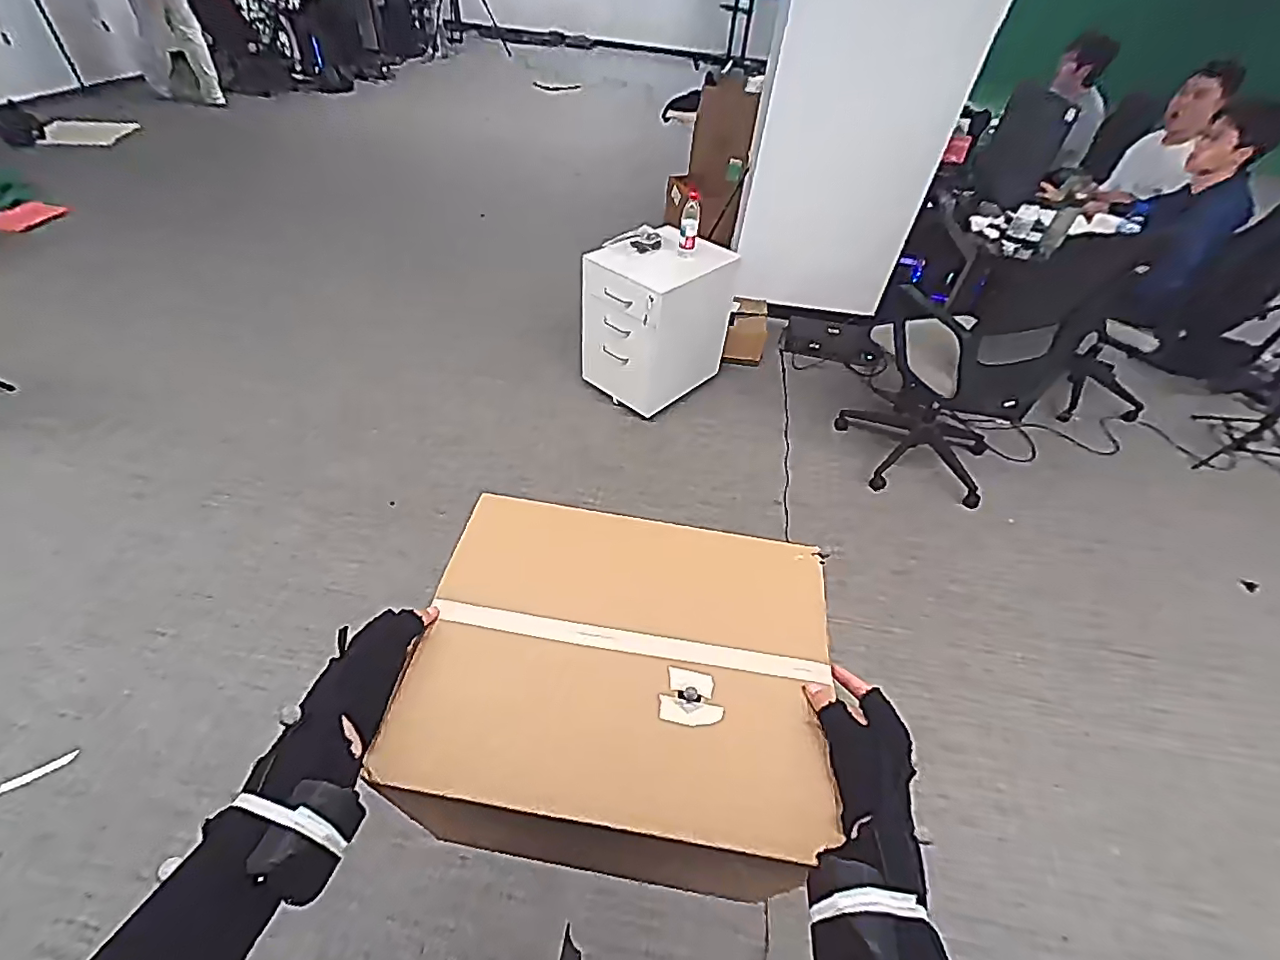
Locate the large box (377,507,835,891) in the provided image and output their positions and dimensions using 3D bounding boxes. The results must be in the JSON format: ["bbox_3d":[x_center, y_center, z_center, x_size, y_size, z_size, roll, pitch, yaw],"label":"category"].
[{"bbox_3d":[-0.025,0.270,0.664,0.408,0.320,0.320,9,49,2],"label":"large box"}]
